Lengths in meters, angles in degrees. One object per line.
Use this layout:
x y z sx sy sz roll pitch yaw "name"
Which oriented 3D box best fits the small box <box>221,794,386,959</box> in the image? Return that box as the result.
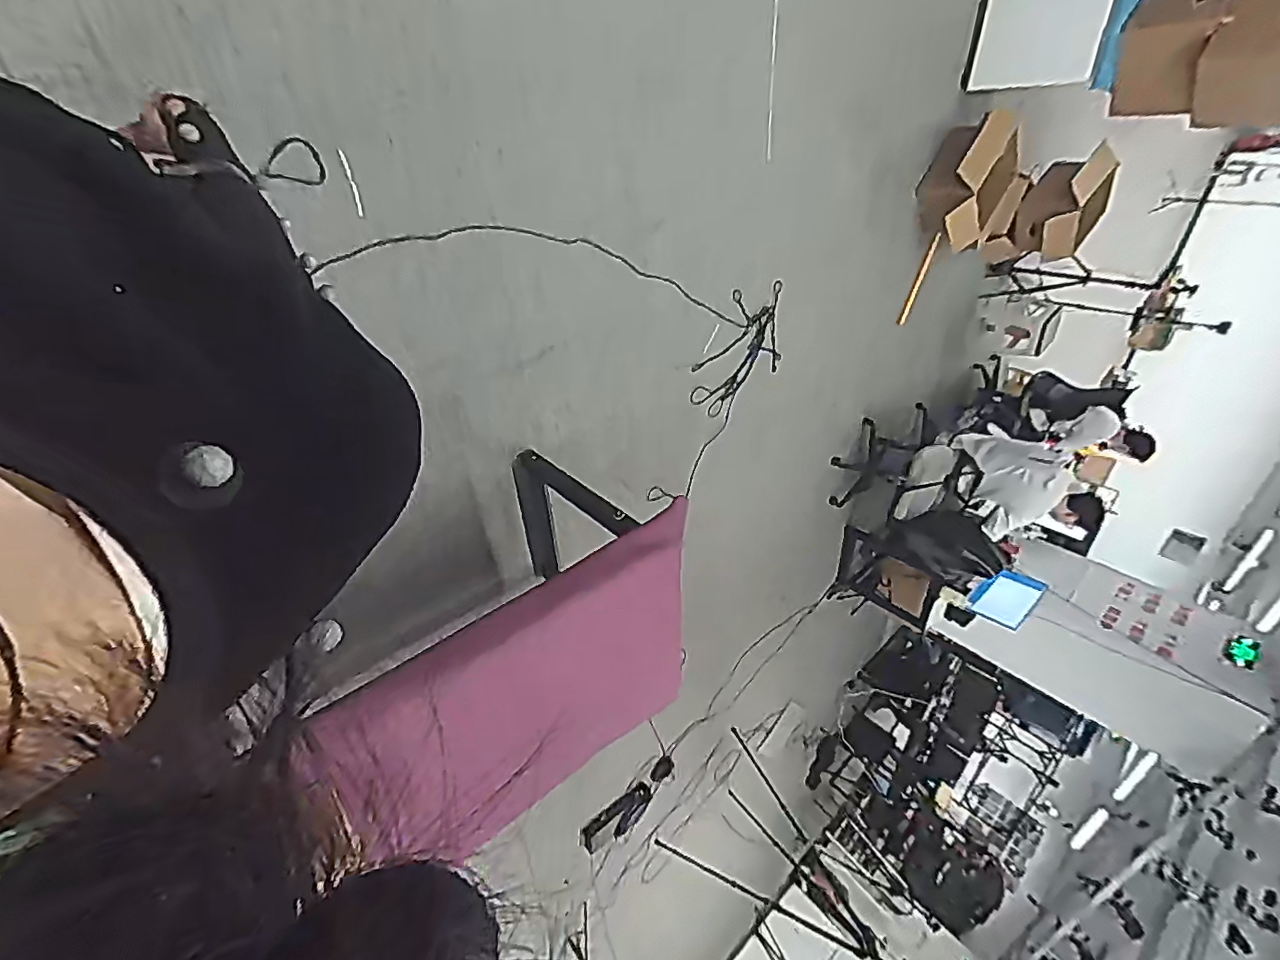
-0.552 0.670 0.886 0.179 0.176 0.168 -26 131 -32 "small box"
